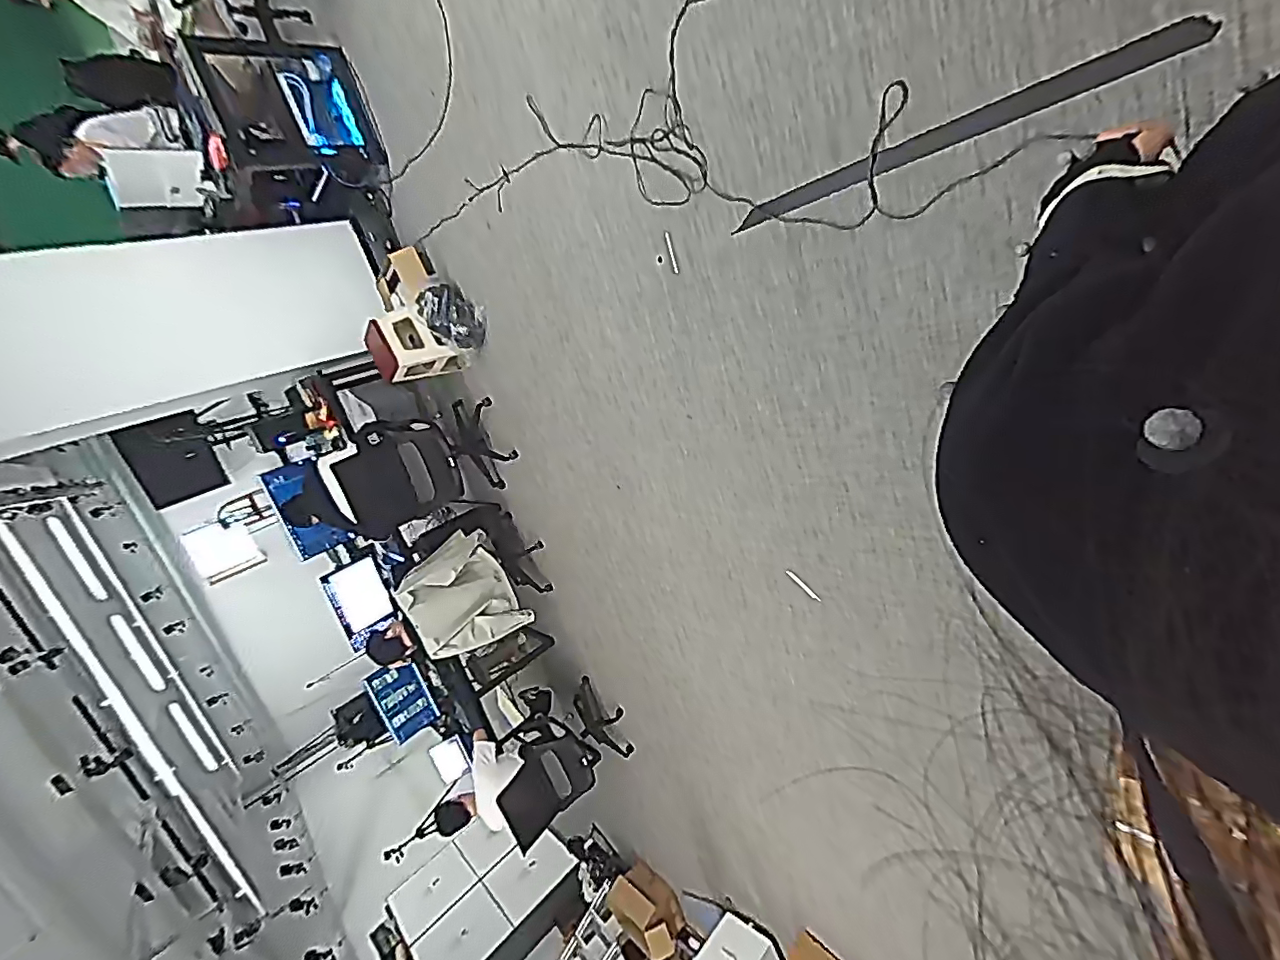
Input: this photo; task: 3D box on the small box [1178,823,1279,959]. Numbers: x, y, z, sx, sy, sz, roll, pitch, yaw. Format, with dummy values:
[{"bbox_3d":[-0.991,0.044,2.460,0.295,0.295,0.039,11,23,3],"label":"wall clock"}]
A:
[{"bbox_3d":[1.181,0.820,1.053,0.179,0.176,0.168,1,113,51],"label":"small box"}]
